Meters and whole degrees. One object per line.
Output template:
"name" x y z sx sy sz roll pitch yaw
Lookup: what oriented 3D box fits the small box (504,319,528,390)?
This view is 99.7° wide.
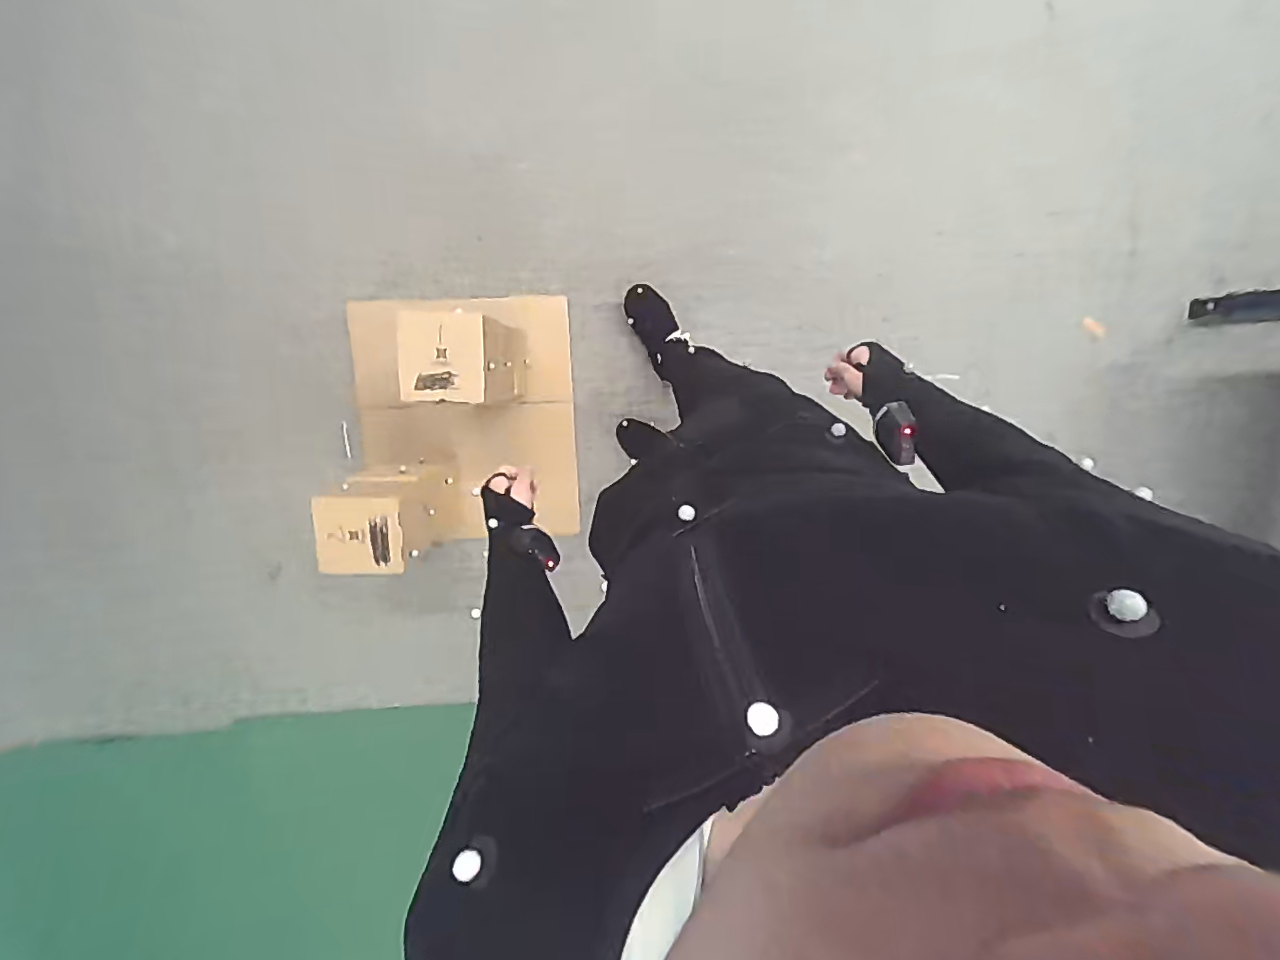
"small box" -0.397 -0.334 1.442 0.168 0.176 0.179 0 102 -2

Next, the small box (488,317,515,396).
"small box" -0.393 -0.298 1.283 0.168 0.176 0.179 2 102 -3

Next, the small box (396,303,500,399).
"small box" -0.388 -0.265 1.122 0.168 0.176 0.179 1 102 -4

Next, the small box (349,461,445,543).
"small box" -0.597 0.048 1.349 0.168 0.176 0.179 -1 103 -3
